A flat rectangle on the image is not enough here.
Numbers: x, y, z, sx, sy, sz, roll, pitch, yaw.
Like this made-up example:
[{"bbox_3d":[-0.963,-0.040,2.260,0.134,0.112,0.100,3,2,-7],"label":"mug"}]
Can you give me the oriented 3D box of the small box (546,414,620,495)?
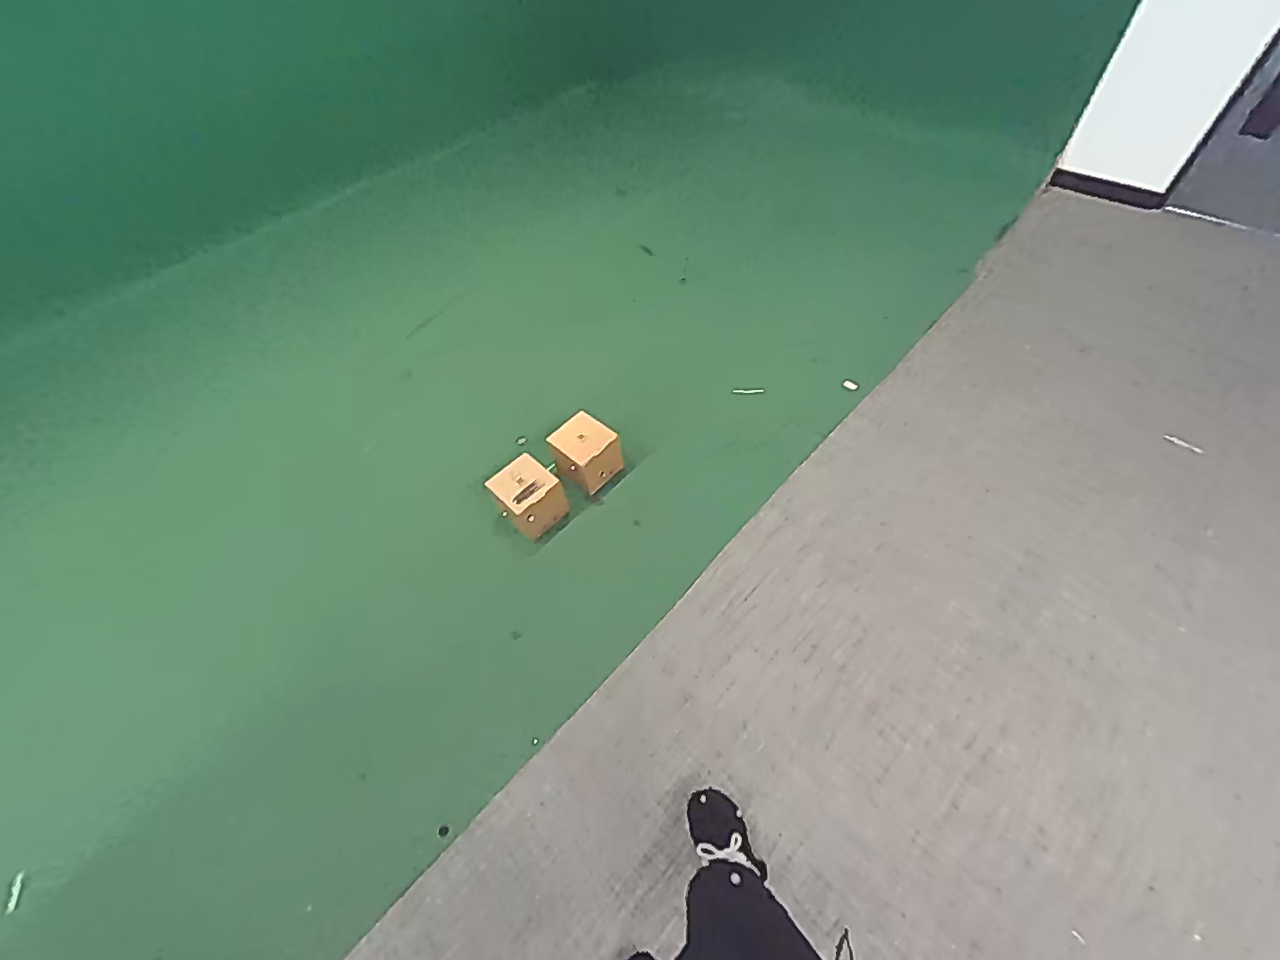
[{"bbox_3d":[-0.185,-0.082,1.805,0.179,0.176,0.168,36,64,25],"label":"small box"}]
